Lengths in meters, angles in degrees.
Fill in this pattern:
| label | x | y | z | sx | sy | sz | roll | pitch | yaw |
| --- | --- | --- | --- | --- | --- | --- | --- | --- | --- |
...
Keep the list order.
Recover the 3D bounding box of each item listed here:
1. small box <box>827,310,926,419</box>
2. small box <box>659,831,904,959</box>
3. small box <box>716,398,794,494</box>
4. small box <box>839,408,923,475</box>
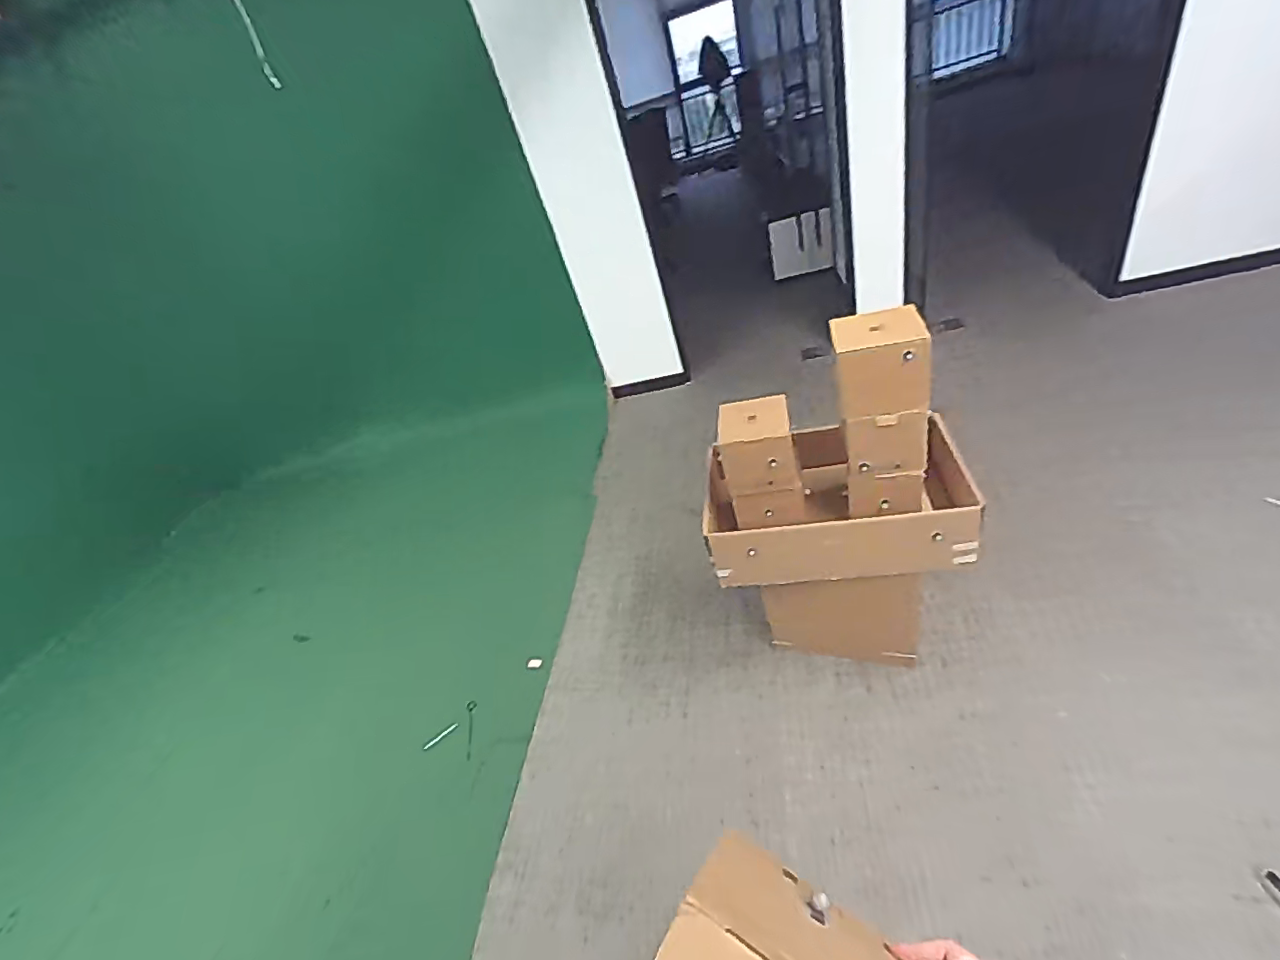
| label | x | y | z | sx | sy | sz | roll | pitch | yaw |
| --- | --- | --- | --- | --- | --- | --- | --- | --- | --- |
| small box | 0.516 | -0.249 | 1.188 | 0.179 | 0.176 | 0.168 | -6 | 38 | 17 |
| small box | 0.086 | 0.396 | 0.377 | 0.168 | 0.176 | 0.179 | 25 | 82 | 24 |
| small box | 0.290 | -0.078 | 1.350 | 0.168 | 0.176 | 0.179 | -7 | 37 | 16 |
| small box | 0.565 | -0.124 | 1.281 | 0.168 | 0.176 | 0.179 | -6 | 37 | 18 |
